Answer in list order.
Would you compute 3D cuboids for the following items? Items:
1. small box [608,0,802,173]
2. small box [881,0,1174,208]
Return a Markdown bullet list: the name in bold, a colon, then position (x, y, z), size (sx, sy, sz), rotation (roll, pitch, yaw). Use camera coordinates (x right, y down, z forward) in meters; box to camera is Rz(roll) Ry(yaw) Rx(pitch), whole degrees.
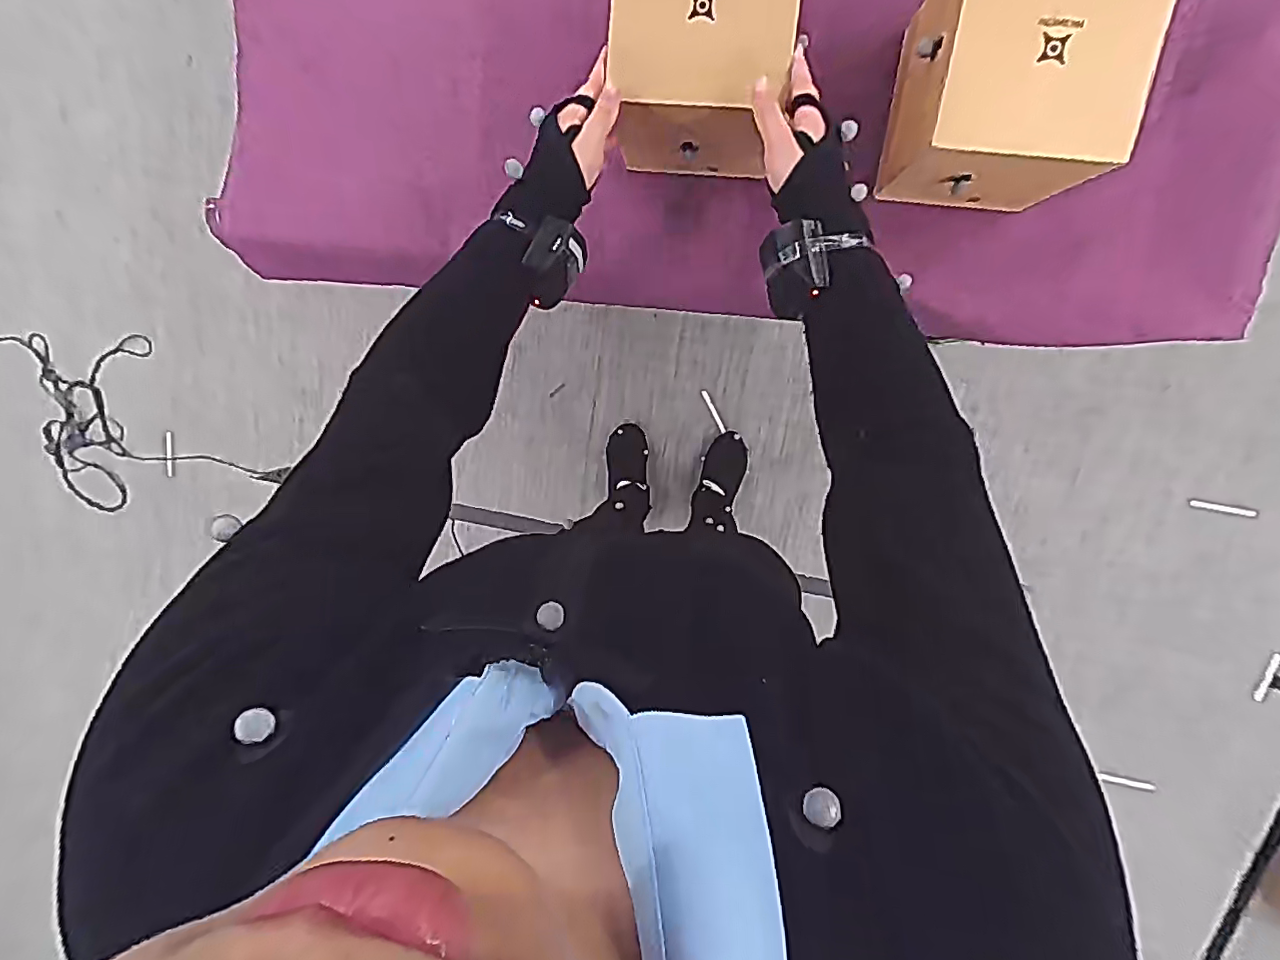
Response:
- **small box**: position (0.068, -0.435, 0.547), size (0.168, 0.176, 0.179), rotation (7, 100, 5)
- **small box**: position (0.357, -0.385, 0.531), size (0.168, 0.176, 0.179), rotation (8, 103, 4)
